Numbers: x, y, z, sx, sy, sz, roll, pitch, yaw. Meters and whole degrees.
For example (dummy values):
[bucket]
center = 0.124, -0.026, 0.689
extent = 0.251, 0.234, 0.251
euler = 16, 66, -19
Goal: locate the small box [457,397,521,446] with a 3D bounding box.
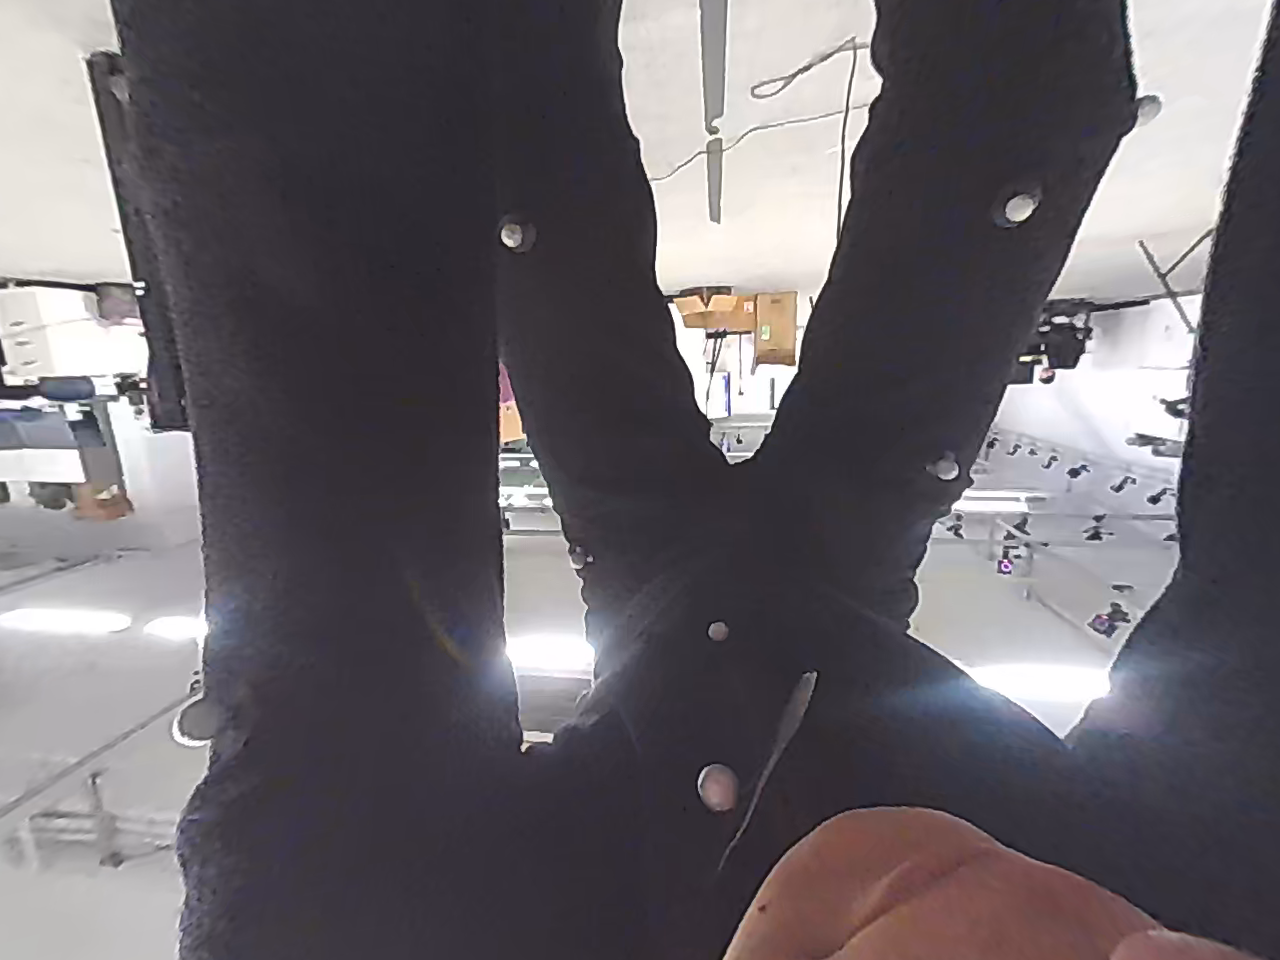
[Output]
[small box]
center = -0.564, -0.222, 2.016
extent = 0.179, 0.176, 0.168
euler = 2, -167, 22
